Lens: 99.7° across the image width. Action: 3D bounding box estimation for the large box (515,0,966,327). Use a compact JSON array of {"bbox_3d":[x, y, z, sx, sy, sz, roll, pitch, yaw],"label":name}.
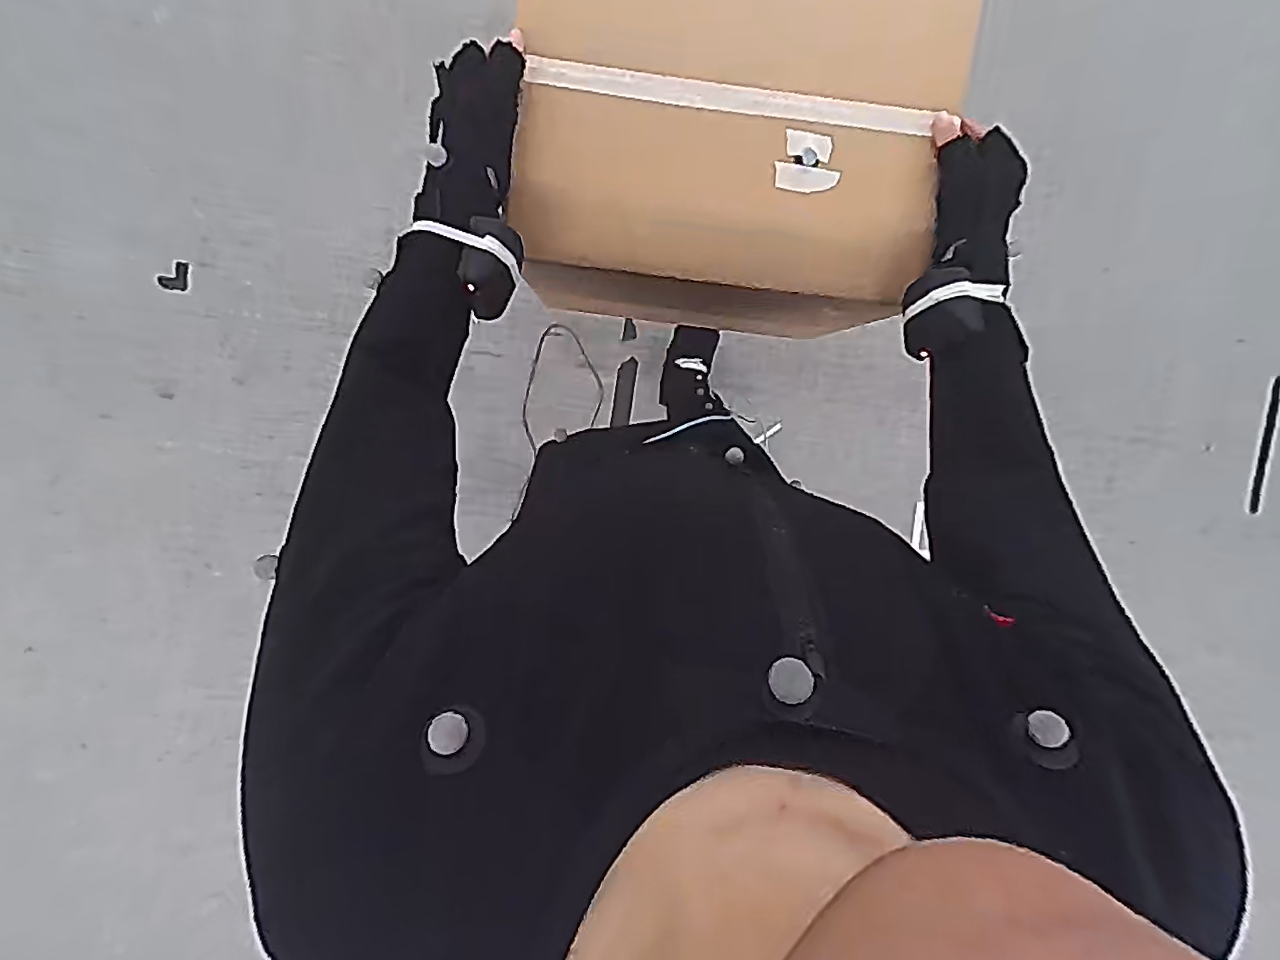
[{"bbox_3d":[0.081,-0.374,0.642,0.408,0.320,0.320,5,100,-4],"label":"large box"}]
